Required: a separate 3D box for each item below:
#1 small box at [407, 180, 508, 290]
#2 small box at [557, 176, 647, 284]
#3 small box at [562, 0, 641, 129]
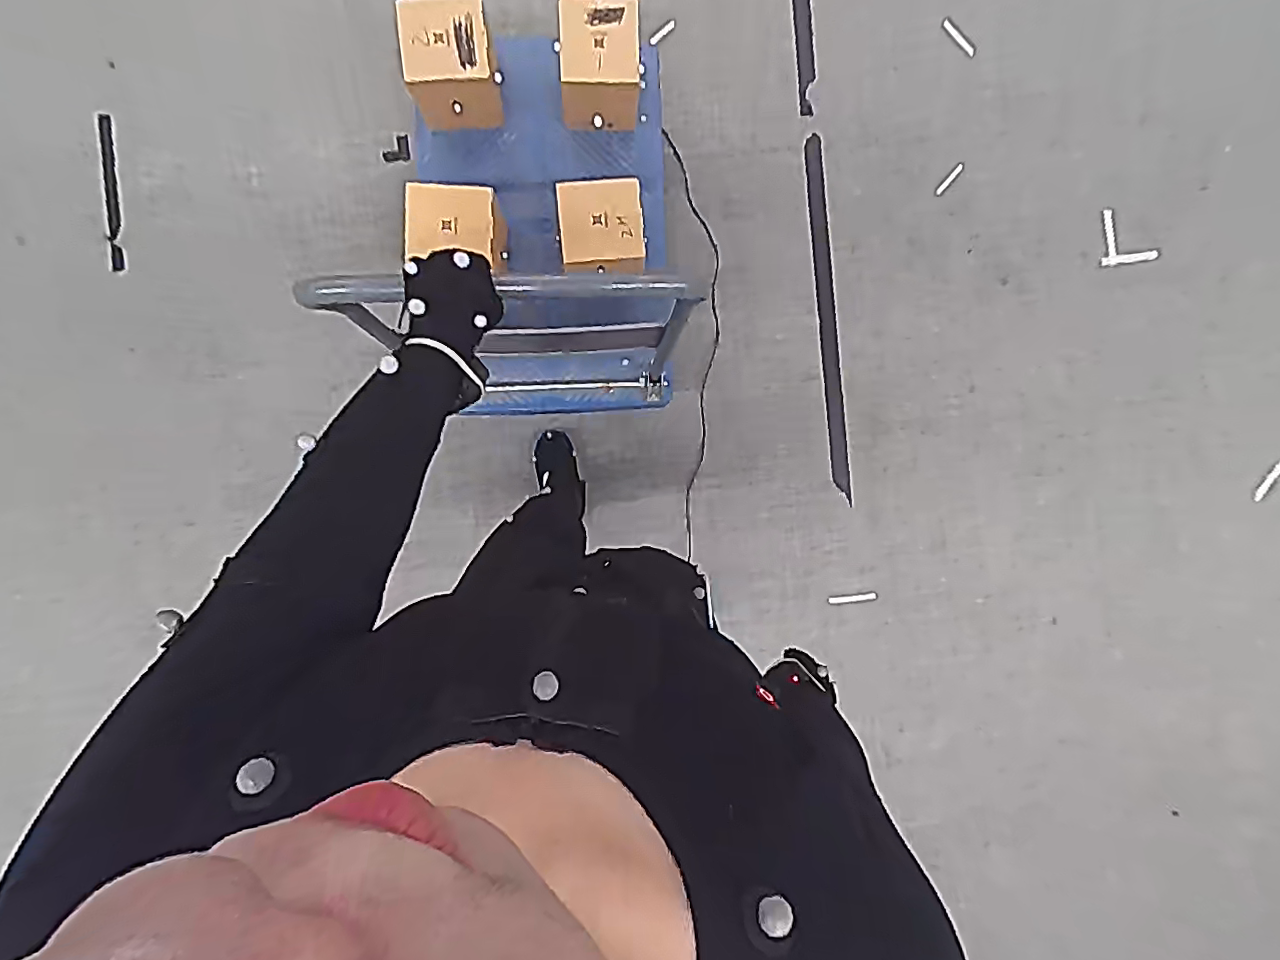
[{"bbox_3d":[-0.391,-0.525,1.180,0.179,0.176,0.168,0,91,-5],"label":"small box"},{"bbox_3d":[-0.082,-0.545,1.200,0.179,0.176,0.168,-6,92,-4],"label":"small box"},{"bbox_3d":[-0.086,-0.915,1.190,0.168,0.176,0.179,-1,93,-4],"label":"small box"}]
